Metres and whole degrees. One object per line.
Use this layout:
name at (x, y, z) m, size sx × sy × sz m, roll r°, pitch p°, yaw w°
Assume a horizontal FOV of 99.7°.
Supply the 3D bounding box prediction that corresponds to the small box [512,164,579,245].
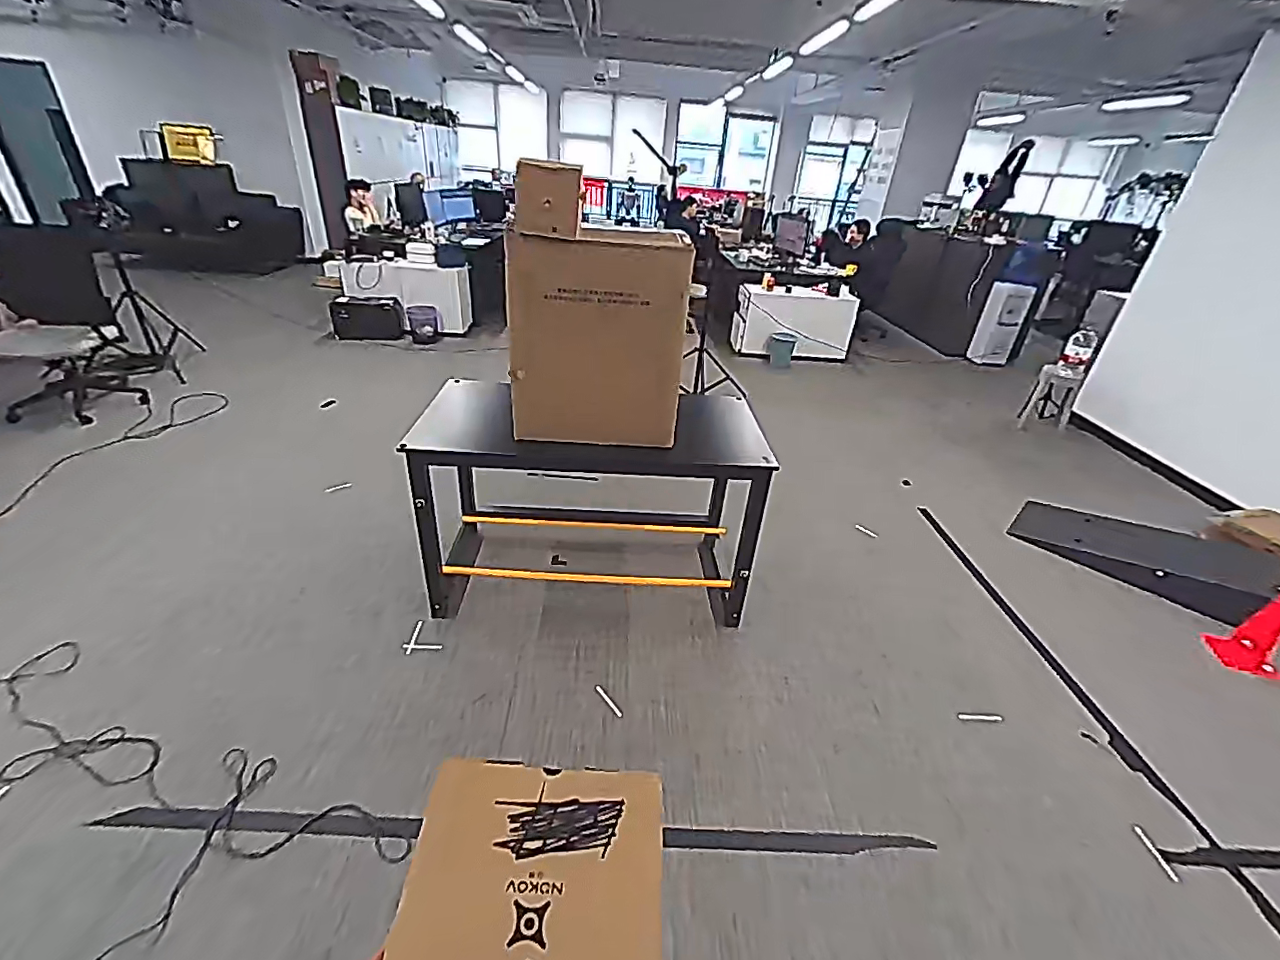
small box at (-0.252, -0.746, 1.463) m, size 0.168 × 0.176 × 0.179 m, roll 3°, pitch 33°, yaw -8°

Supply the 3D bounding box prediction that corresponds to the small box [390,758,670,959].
small box at (-0.072, 0.331, 0.385) m, size 0.168 × 0.176 × 0.179 m, roll 5°, pitch 37°, yaw -3°
